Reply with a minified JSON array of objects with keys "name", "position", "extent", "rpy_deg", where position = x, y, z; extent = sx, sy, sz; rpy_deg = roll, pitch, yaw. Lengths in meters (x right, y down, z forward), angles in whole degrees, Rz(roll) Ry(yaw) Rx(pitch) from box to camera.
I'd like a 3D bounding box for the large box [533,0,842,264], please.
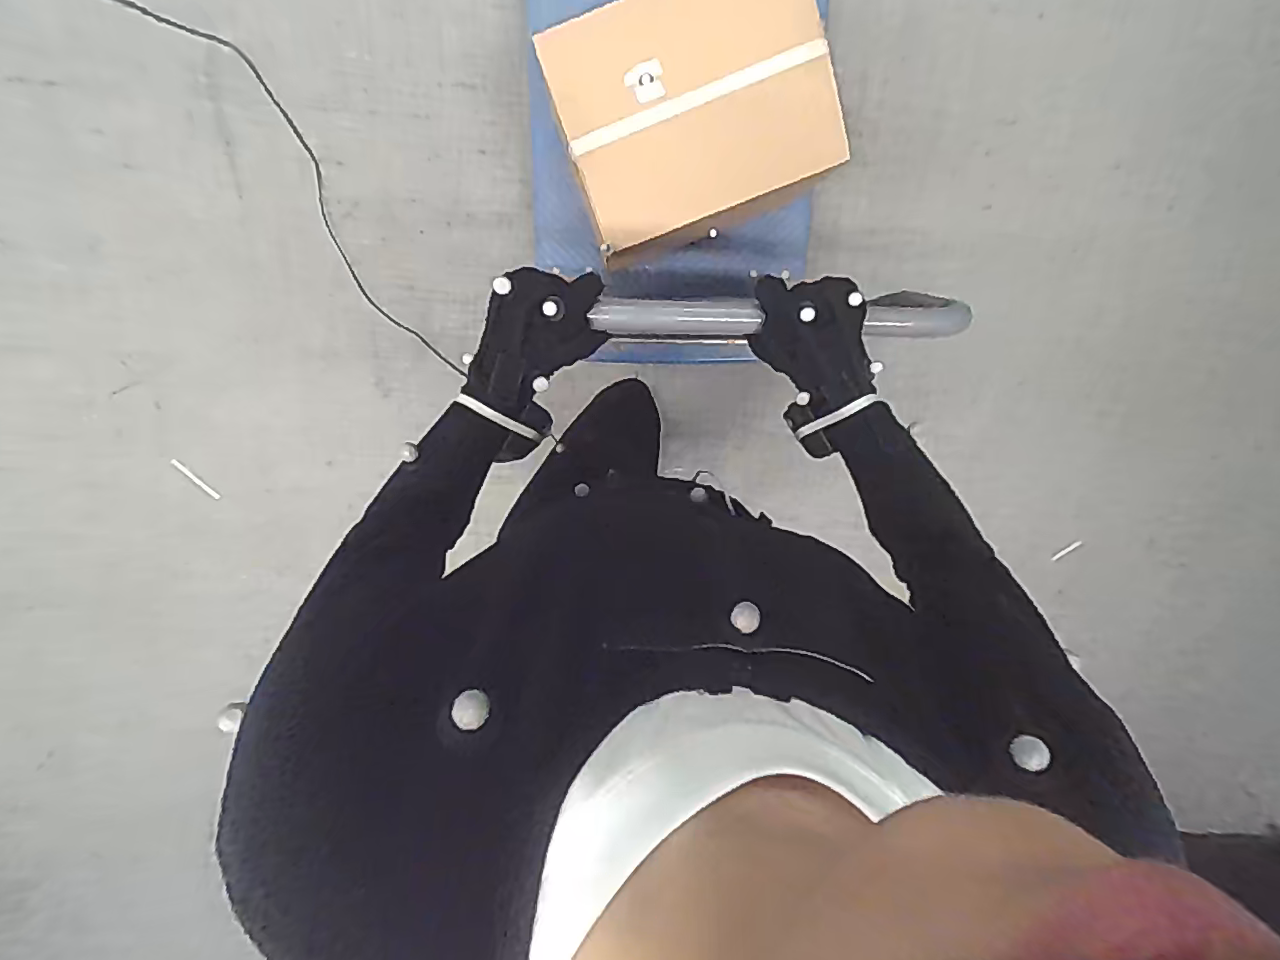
[{"name":"large box","position":[0.074,-0.615,0.952],"extent":[0.408,0.320,0.320],"rpy_deg":[-20,106,3]}]
